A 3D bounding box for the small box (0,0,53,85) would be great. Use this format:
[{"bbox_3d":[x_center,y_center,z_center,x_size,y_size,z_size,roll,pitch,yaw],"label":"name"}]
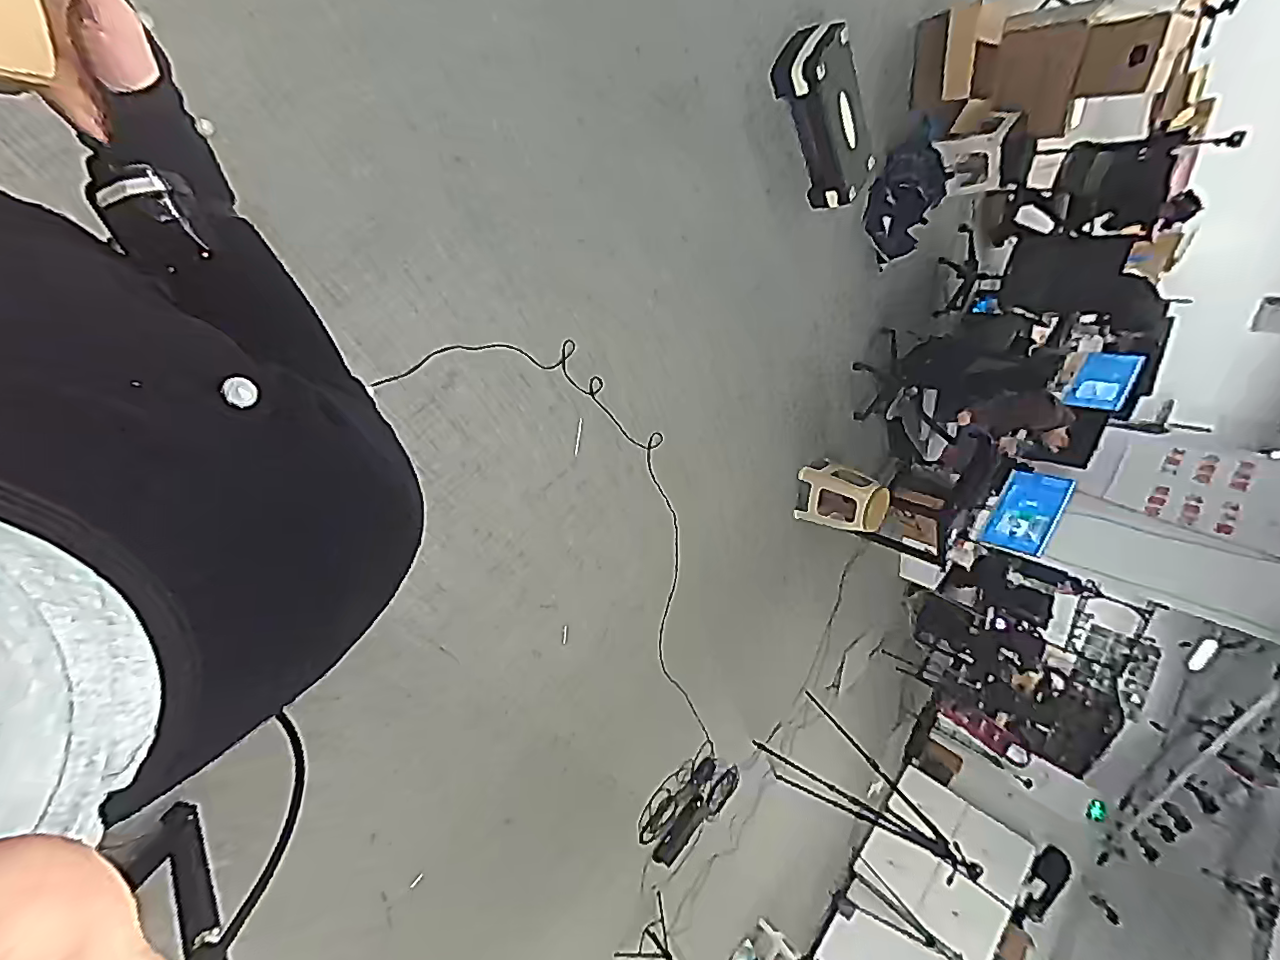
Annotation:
[{"bbox_3d":[-0.410,-0.293,0.234,0.168,0.176,0.179,-24,129,-47],"label":"small box"}]
